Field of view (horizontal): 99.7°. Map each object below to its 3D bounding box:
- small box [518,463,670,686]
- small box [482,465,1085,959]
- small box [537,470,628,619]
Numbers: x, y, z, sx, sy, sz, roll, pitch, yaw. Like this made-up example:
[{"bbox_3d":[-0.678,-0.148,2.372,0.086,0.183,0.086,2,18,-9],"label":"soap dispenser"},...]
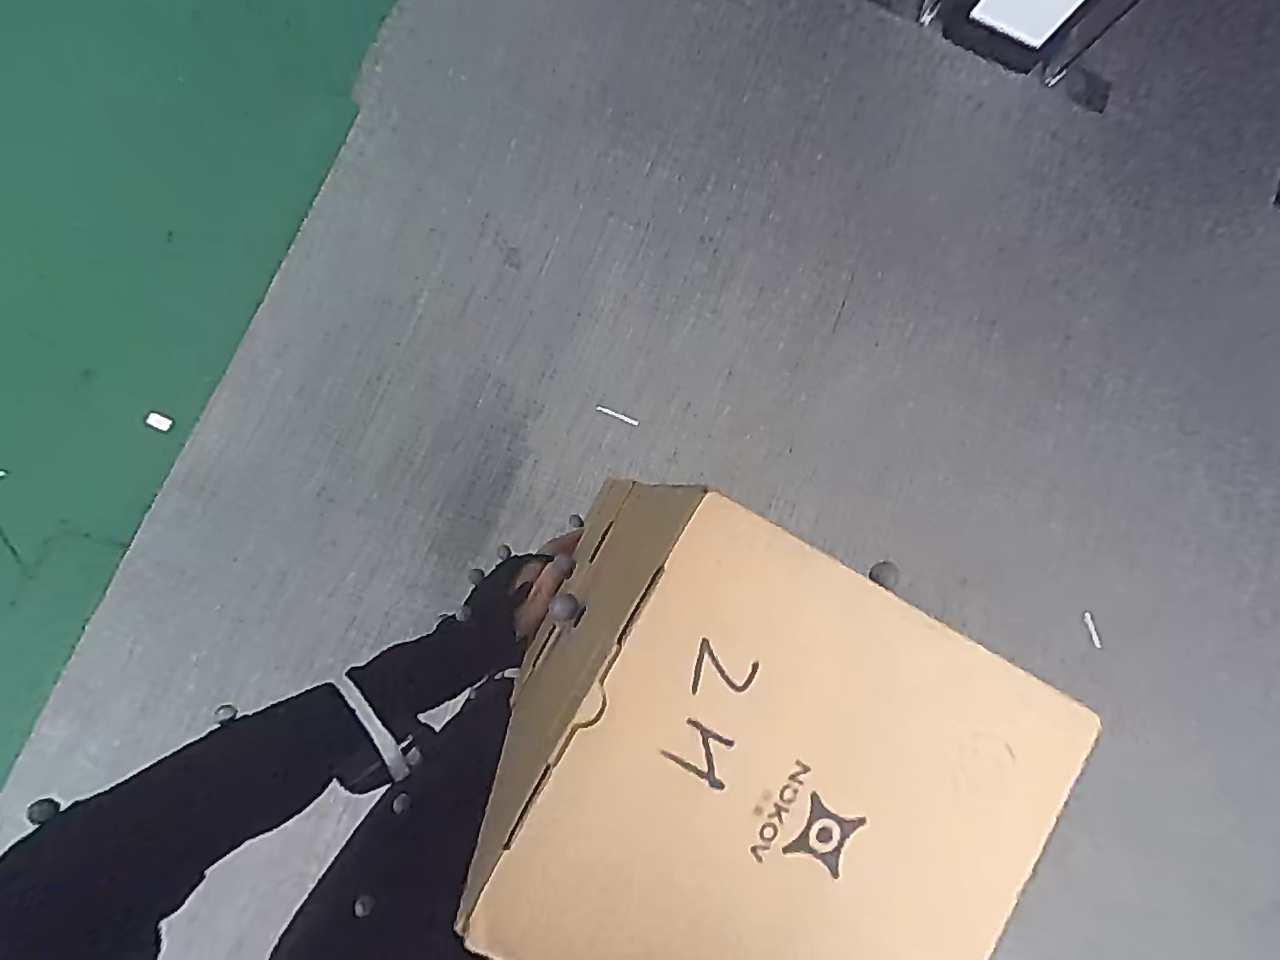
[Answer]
[{"bbox_3d":[0.025,0.103,0.438,0.179,0.176,0.168,29,87,-5],"label":"small box"},{"bbox_3d":[0.050,0.105,0.275,0.179,0.176,0.168,30,85,-5],"label":"small box"},{"bbox_3d":[0.006,0.099,0.602,0.179,0.176,0.168,28,86,-5],"label":"small box"}]
